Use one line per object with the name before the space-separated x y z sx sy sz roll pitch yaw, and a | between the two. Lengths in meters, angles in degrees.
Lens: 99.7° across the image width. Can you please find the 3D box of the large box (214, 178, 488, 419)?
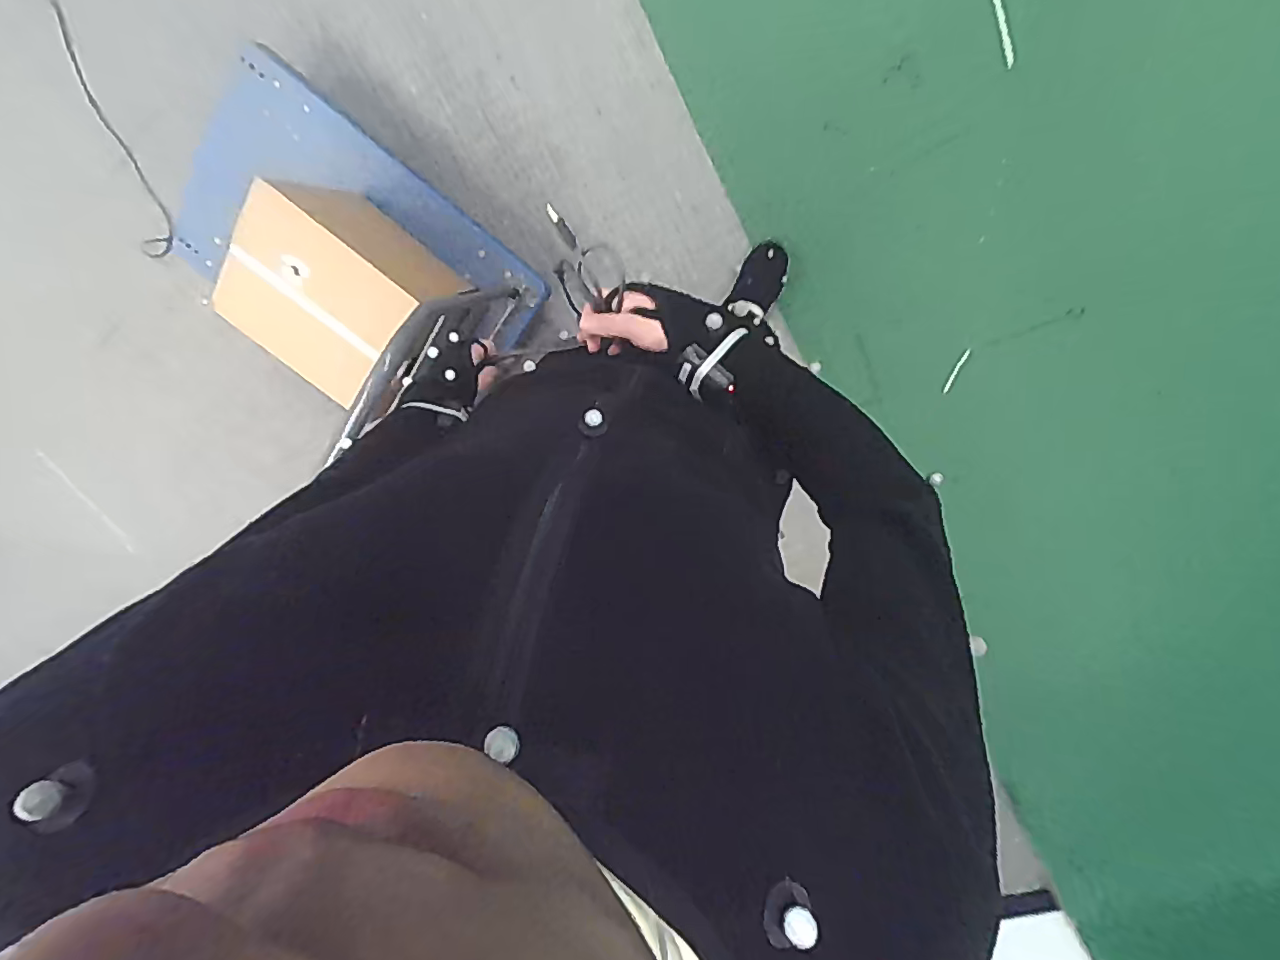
large box | -0.641 -0.413 1.251 0.408 0.320 0.320 39 112 -7
